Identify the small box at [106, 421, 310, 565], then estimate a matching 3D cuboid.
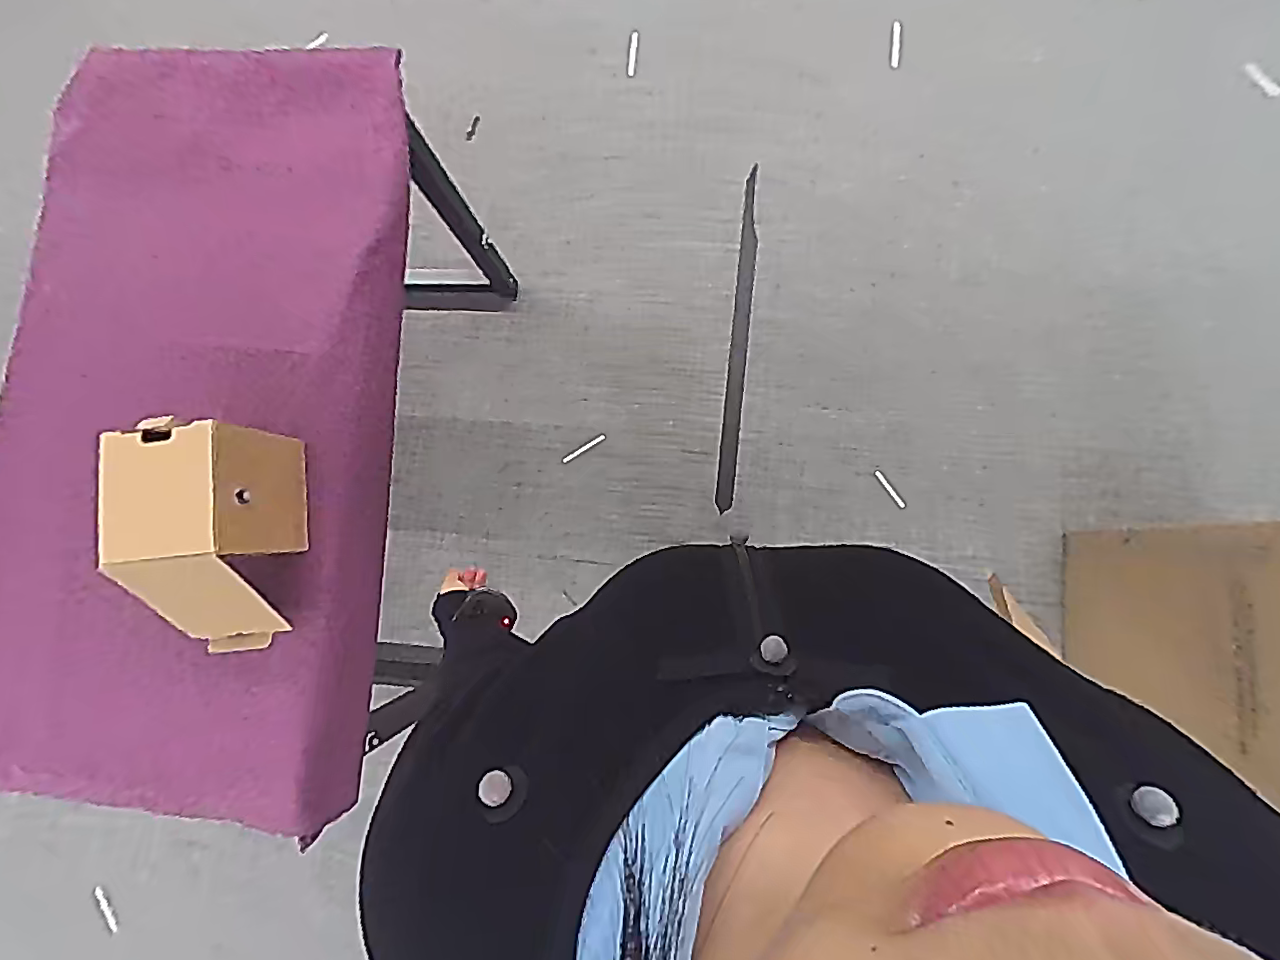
[{"bbox_3d":[-0.604,0.024,0.776,0.168,0.176,0.179,-6,83,5],"label":"small box"}]
